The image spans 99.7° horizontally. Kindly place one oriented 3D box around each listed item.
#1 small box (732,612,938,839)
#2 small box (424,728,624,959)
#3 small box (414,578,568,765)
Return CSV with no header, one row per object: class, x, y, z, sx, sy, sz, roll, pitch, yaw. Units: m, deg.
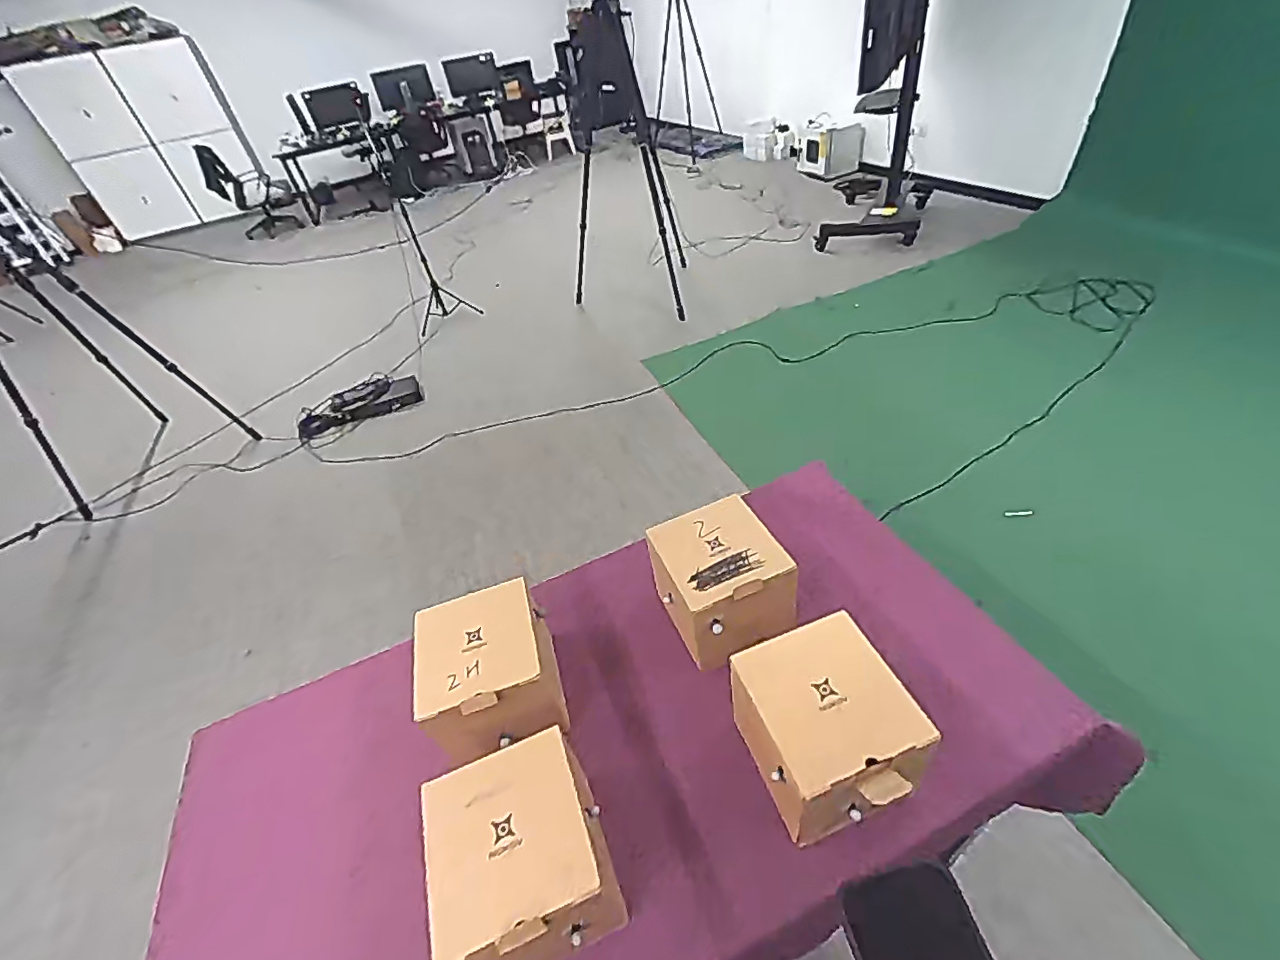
small box,0.225,0.303,0.674,0.168,0.176,0.179,-19,43,-8
small box,-0.129,0.429,0.618,0.168,0.176,0.179,-20,41,-10
small box,-0.215,0.282,0.797,0.168,0.176,0.179,-18,43,-7
